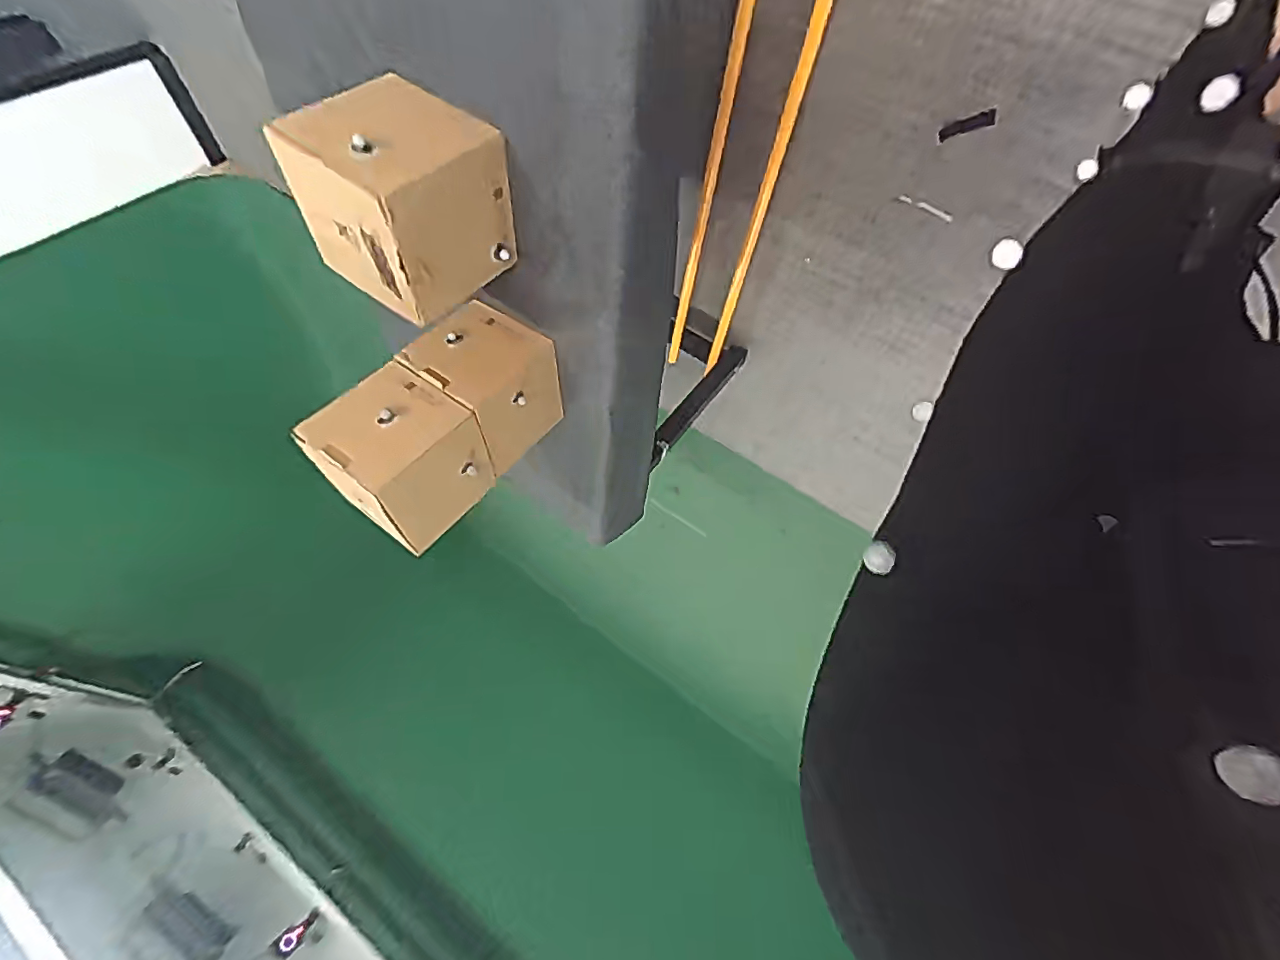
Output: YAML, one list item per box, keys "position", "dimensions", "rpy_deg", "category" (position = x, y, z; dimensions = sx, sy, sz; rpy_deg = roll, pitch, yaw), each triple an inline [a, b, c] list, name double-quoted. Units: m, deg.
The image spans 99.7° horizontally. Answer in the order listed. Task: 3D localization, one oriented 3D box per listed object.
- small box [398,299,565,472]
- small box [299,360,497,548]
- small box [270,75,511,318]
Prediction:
- position: [-0.238, -0.153, 0.856]
  dimensions: [0.168, 0.176, 0.179]
  rpy_deg: [32, 152, 18]
  category: "small box"
- position: [-0.335, -0.041, 0.784]
  dimensions: [0.168, 0.176, 0.179]
  rpy_deg: [33, 151, 18]
  category: "small box"
- position: [-0.267, -0.332, 0.631]
  dimensions: [0.179, 0.176, 0.168]
  rpy_deg: [35, 151, 13]
  category: "small box"
